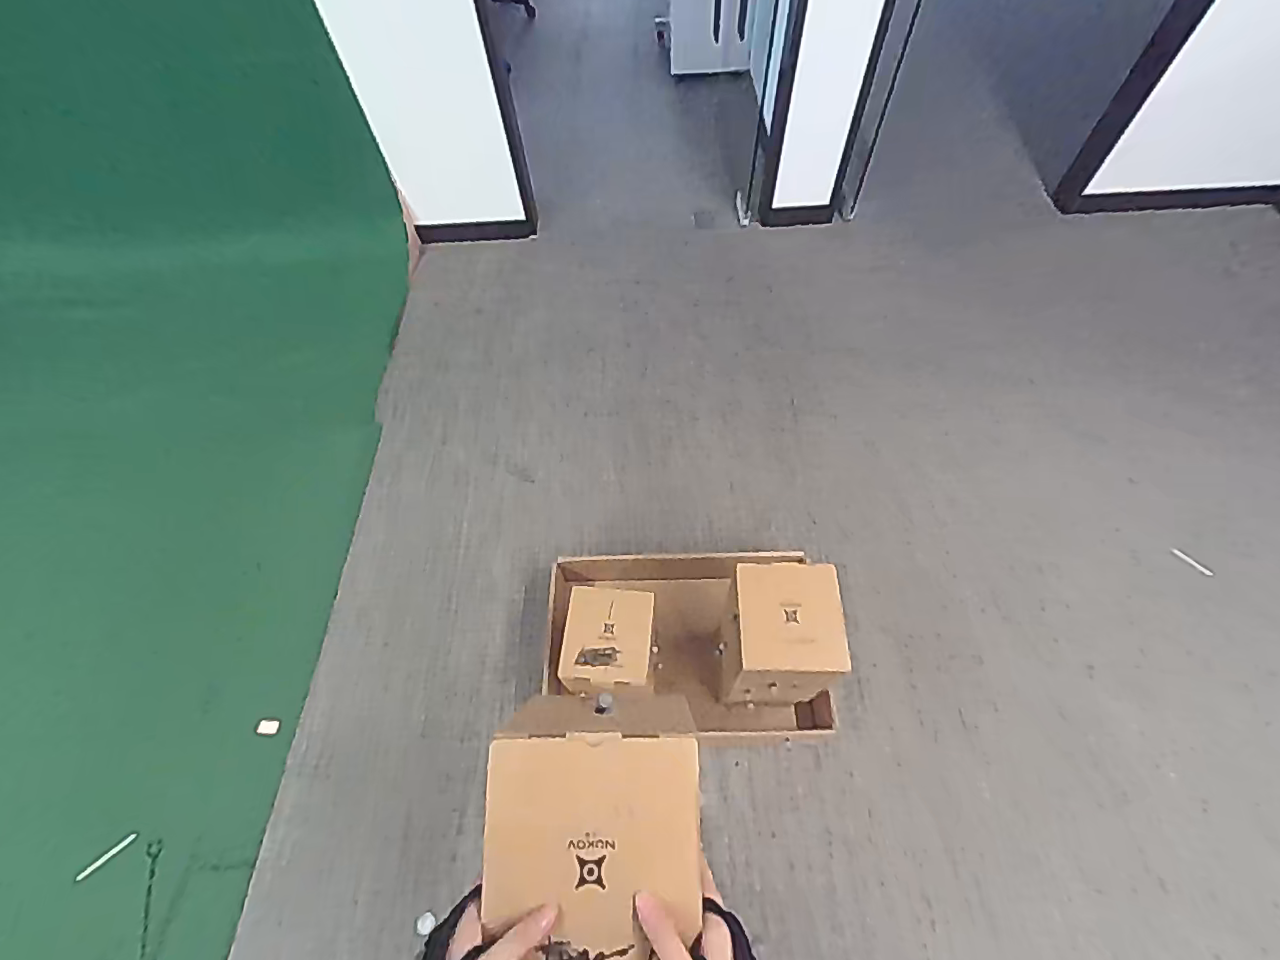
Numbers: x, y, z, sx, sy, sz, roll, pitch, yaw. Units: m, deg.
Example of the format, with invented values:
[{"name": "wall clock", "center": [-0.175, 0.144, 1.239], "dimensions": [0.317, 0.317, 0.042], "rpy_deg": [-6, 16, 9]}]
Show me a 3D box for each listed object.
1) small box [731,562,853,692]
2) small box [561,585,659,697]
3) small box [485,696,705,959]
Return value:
[{"name": "small box", "center": [0.248, 0.255, 0.930], "dimensions": [0.168, 0.176, 0.179], "rpy_deg": [0, 60, 4]}, {"name": "small box", "center": [-0.051, 0.329, 1.089], "dimensions": [0.168, 0.176, 0.179], "rpy_deg": [4, 59, 5]}, {"name": "small box", "center": [-0.032, 0.301, 0.495], "dimensions": [0.168, 0.176, 0.179], "rpy_deg": [0, 77, 1]}]
